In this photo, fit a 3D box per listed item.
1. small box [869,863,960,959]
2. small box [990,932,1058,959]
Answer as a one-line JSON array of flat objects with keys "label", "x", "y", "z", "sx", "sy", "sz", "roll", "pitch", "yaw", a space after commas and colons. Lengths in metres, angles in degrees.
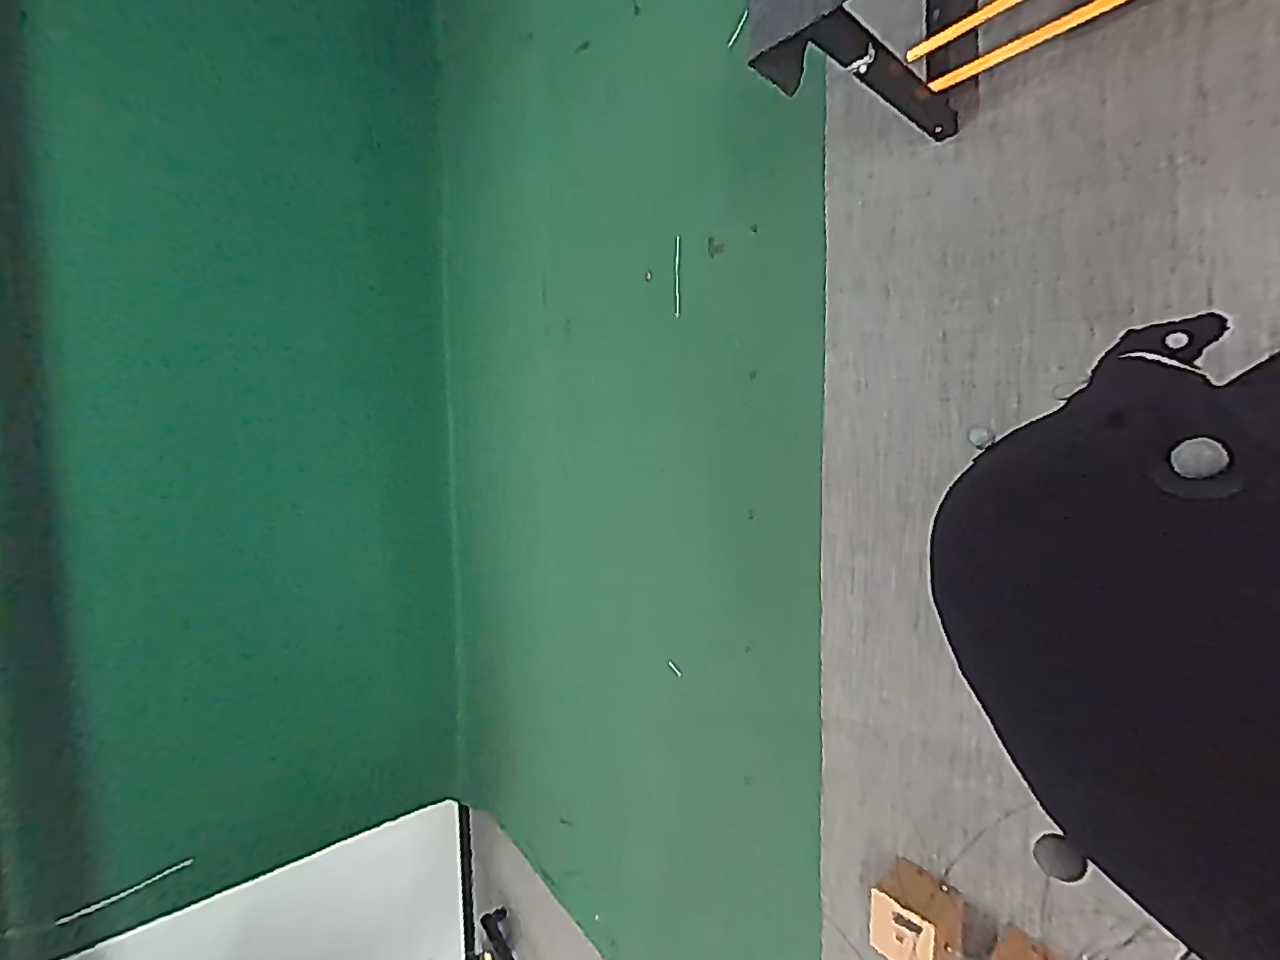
[{"label": "small box", "x": 0.738, "y": 1.184, "z": 1.448, "sx": 0.168, "sy": 0.176, "sz": 0.179, "roll": 7, "pitch": 98, "yaw": 50}, {"label": "small box", "x": 0.908, "y": 1.215, "z": 1.242, "sx": 0.168, "sy": 0.176, "sz": 0.179, "roll": 7, "pitch": 98, "yaw": 51}]
